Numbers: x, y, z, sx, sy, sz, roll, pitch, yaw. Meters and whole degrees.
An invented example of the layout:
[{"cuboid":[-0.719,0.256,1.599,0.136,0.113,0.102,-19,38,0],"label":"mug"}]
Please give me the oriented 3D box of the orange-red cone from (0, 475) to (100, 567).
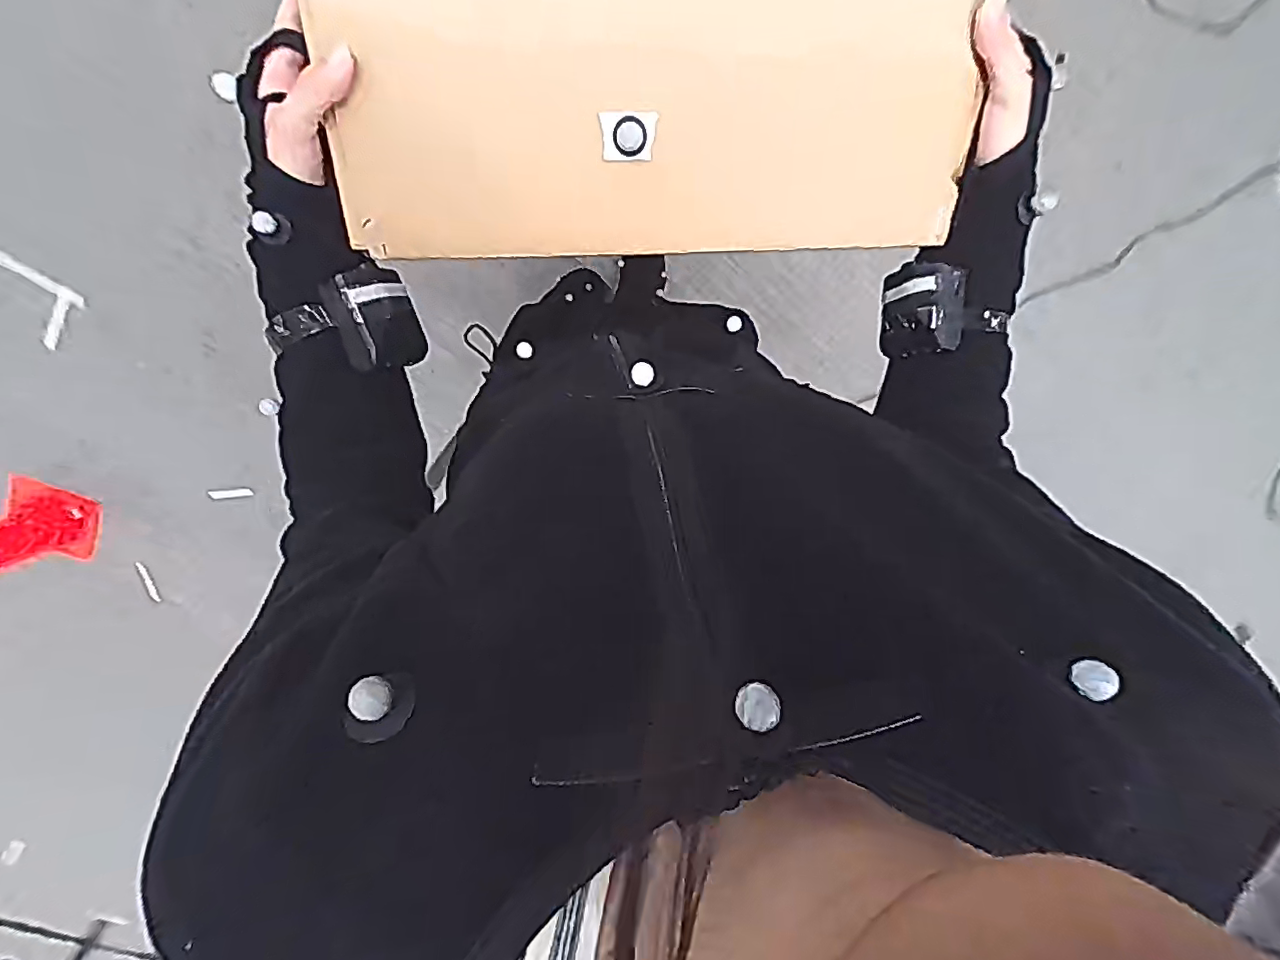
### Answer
[{"cuboid":[-1.511,0.168,1.240,0.199,0.360,0.198,27,109,-15],"label":"orange-red cone"}]
